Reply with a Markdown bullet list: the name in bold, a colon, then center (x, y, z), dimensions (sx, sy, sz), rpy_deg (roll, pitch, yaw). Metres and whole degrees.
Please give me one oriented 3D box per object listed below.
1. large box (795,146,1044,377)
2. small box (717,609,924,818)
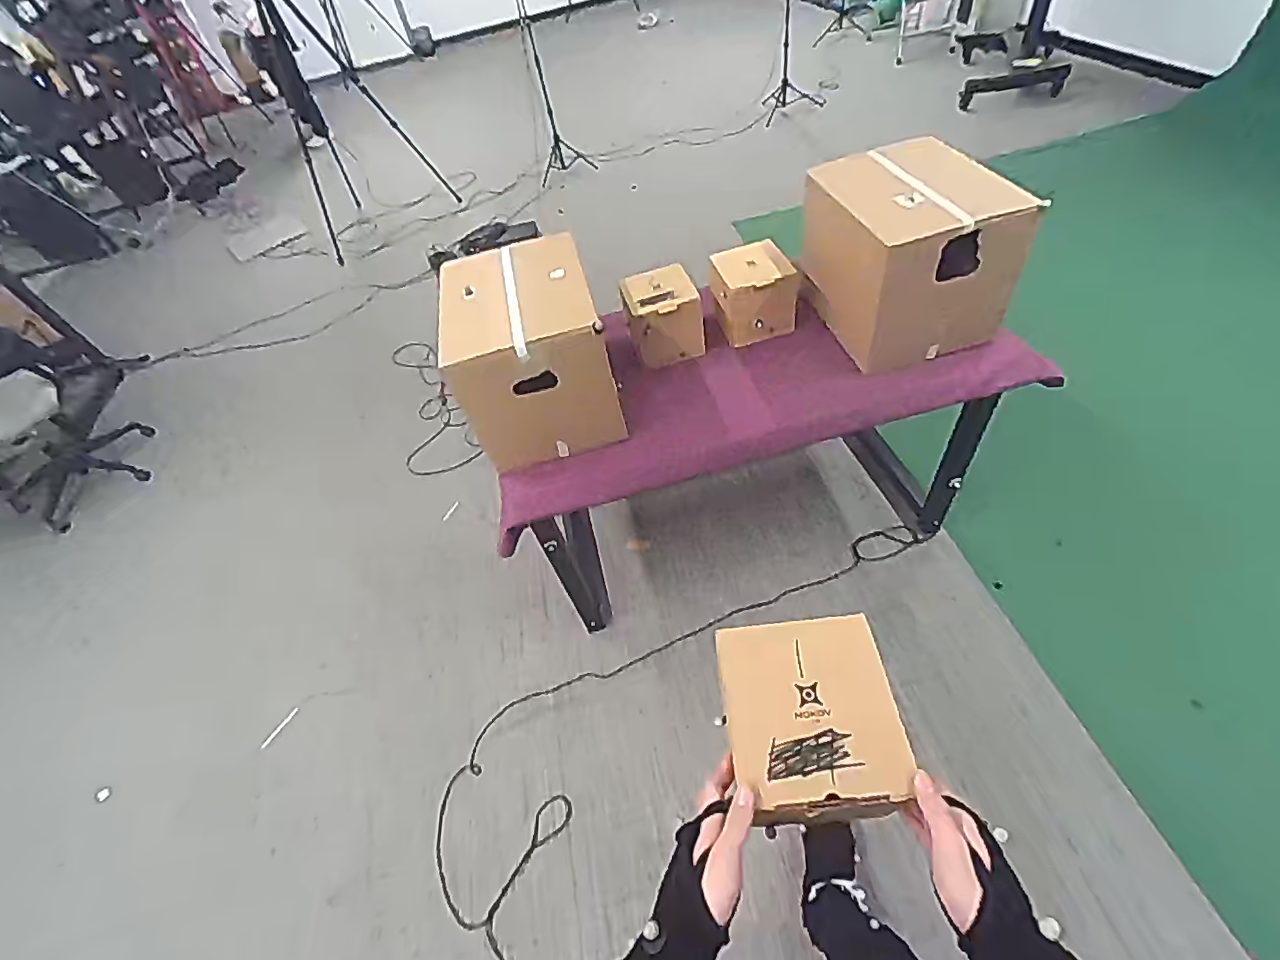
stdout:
- **large box**: center (0.591, -0.507, 1.249), dimensions (0.320, 0.320, 0.408), rpy_deg (-16, 50, 0)
- **small box**: center (0.182, 0.267, 0.602), dimensions (0.168, 0.176, 0.179), rpy_deg (-8, 51, 3)
